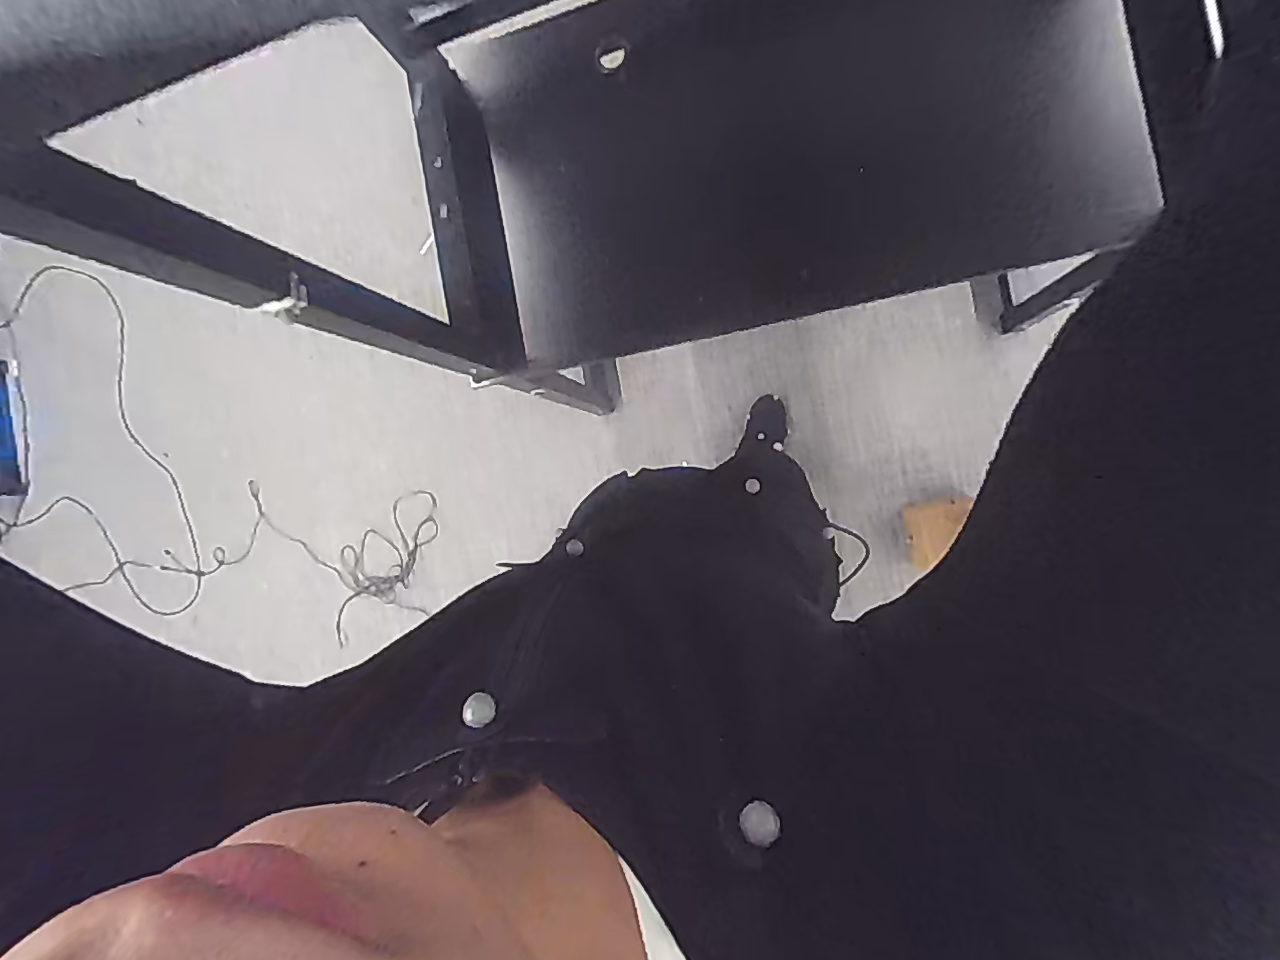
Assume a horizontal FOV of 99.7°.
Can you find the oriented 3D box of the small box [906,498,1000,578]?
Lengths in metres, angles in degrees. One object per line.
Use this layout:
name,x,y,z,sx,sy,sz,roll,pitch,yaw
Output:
small box,0.808,0.143,1.387,0.179,0.176,0.168,-12,88,14
